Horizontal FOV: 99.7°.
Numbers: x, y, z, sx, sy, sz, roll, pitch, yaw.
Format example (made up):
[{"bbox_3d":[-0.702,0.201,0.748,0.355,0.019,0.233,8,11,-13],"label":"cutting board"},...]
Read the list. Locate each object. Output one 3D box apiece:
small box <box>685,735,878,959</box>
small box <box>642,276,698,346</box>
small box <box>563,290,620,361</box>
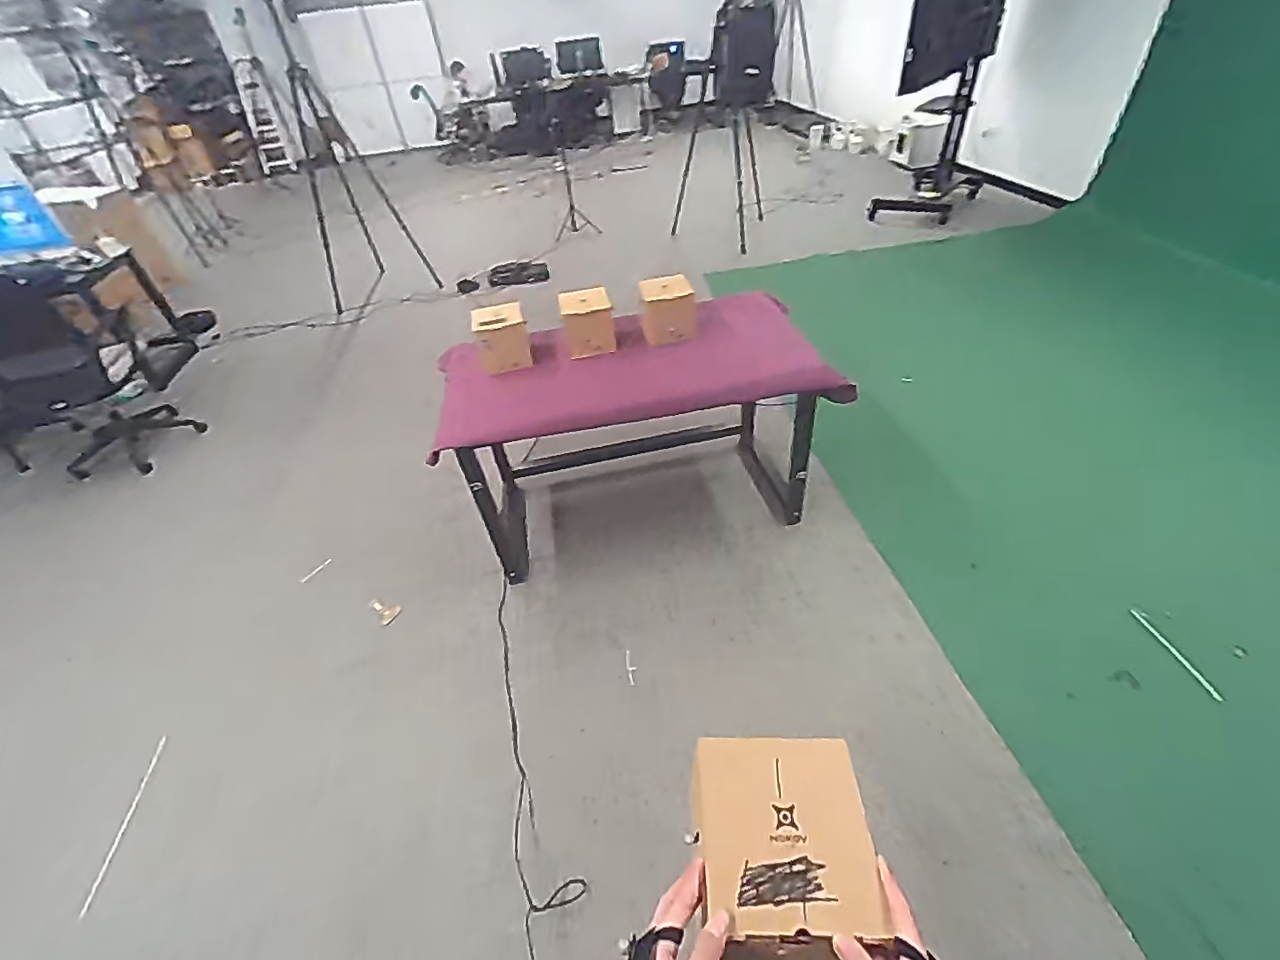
[{"bbox_3d":[0.136,0.403,0.593,0.168,0.176,0.179,-2,41,2],"label":"small box"},{"bbox_3d":[0.107,-0.595,1.909,0.168,0.176,0.179,-11,43,-2],"label":"small box"},{"bbox_3d":[-0.170,-0.543,1.902,0.168,0.176,0.179,-12,43,-4],"label":"small box"}]
